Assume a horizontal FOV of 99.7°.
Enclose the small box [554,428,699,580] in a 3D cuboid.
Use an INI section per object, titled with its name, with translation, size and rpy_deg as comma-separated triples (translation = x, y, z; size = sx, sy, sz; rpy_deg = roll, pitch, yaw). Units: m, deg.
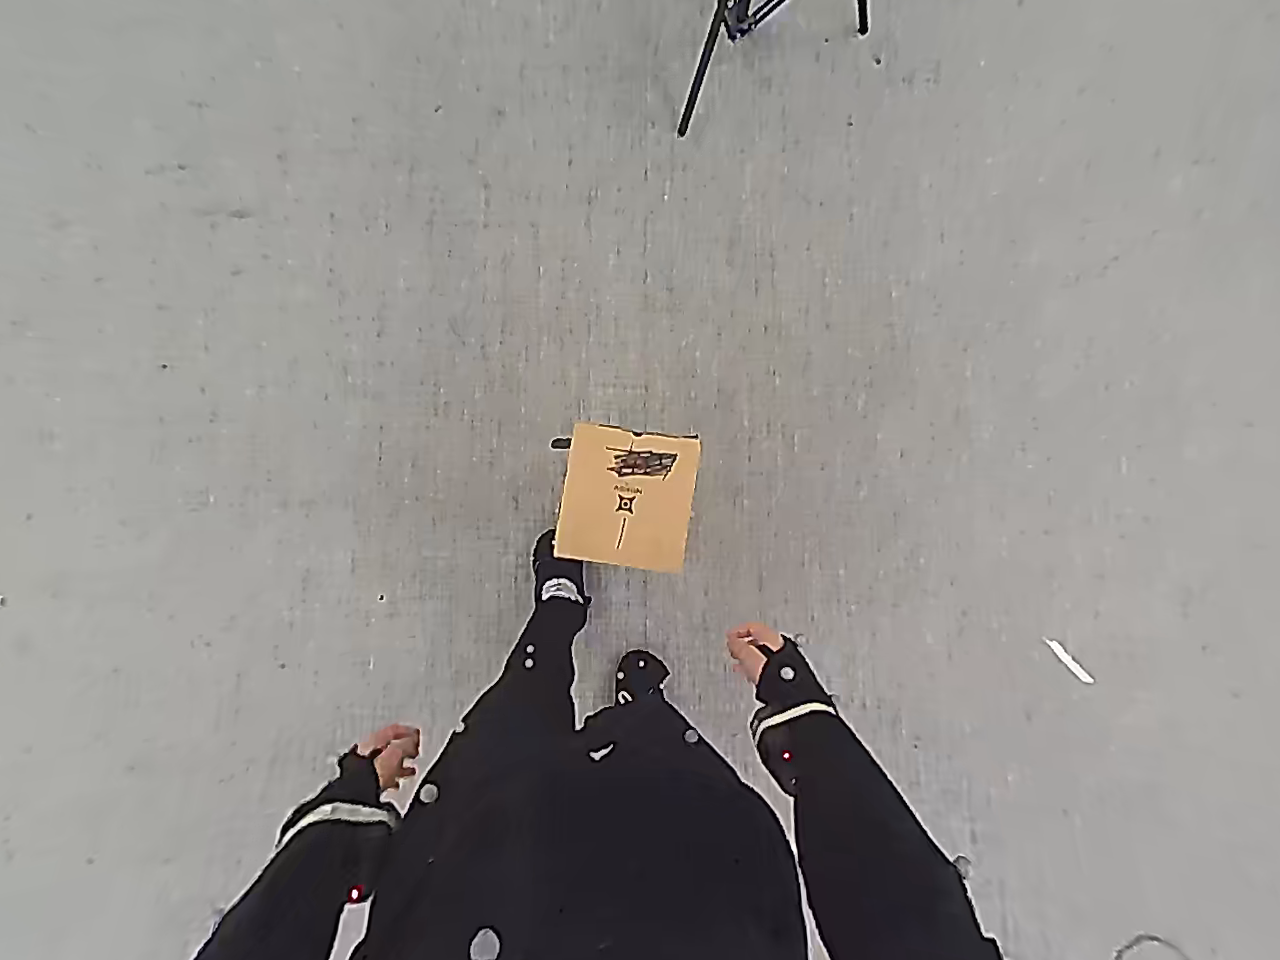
[small box]
translation = -0.021, 0.034, 0.771
size = 0.168, 0.176, 0.179
rpy_deg = 9, 87, -2
